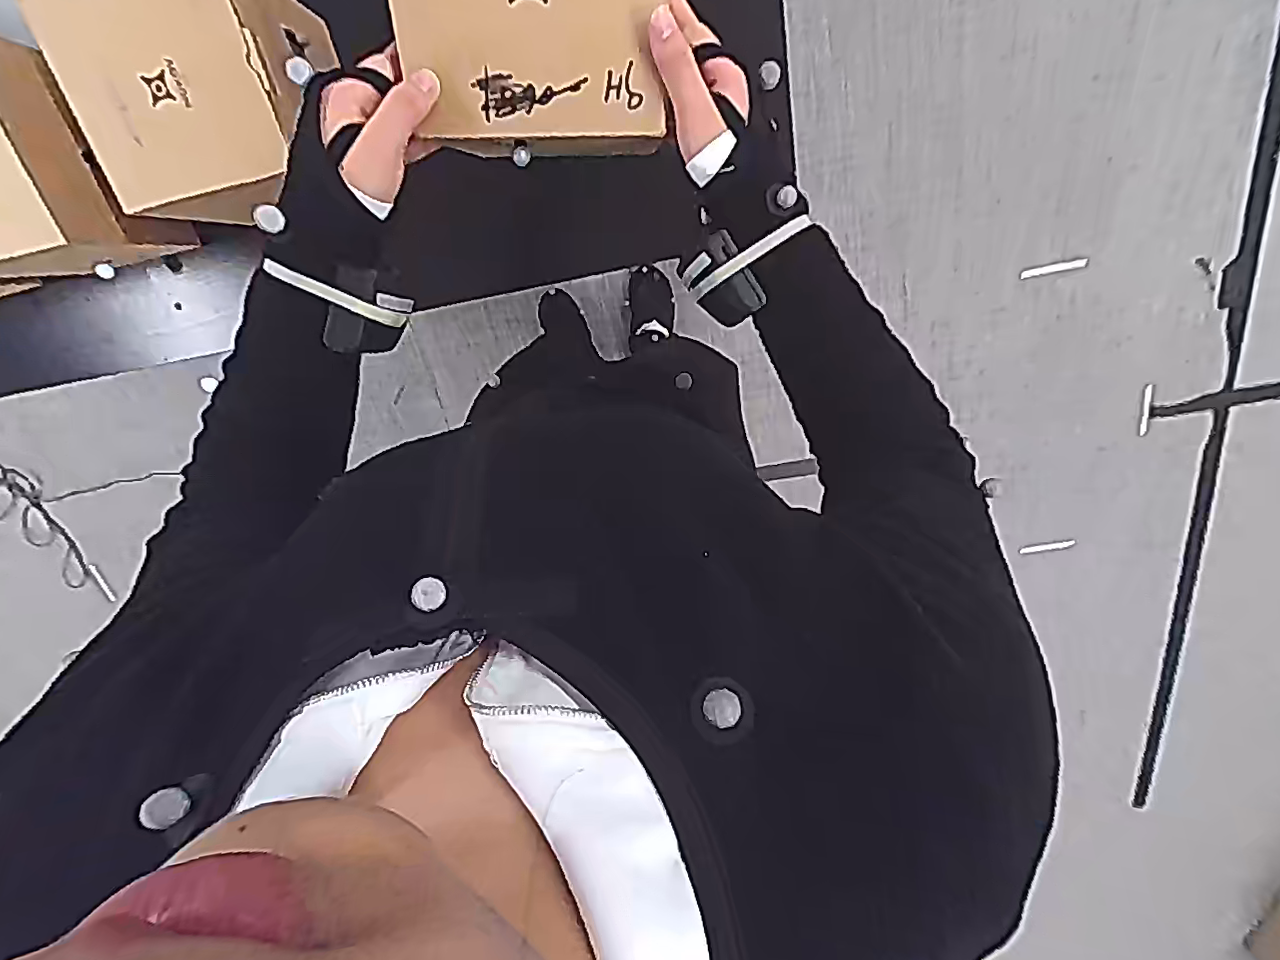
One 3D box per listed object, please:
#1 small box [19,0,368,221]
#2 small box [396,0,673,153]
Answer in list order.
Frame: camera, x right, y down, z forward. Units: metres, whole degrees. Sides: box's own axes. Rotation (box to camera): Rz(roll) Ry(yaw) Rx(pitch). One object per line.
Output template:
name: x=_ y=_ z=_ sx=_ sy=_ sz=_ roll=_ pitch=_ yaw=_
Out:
small box: x=-0.400 y=-0.365 z=0.531 sx=0.179 sy=0.176 sz=0.168 roll=-11 pitch=111 yaw=7
small box: x=-0.065 y=-0.338 z=0.380 sx=0.168 sy=0.176 sz=0.179 roll=-1 pitch=119 yaw=-2
